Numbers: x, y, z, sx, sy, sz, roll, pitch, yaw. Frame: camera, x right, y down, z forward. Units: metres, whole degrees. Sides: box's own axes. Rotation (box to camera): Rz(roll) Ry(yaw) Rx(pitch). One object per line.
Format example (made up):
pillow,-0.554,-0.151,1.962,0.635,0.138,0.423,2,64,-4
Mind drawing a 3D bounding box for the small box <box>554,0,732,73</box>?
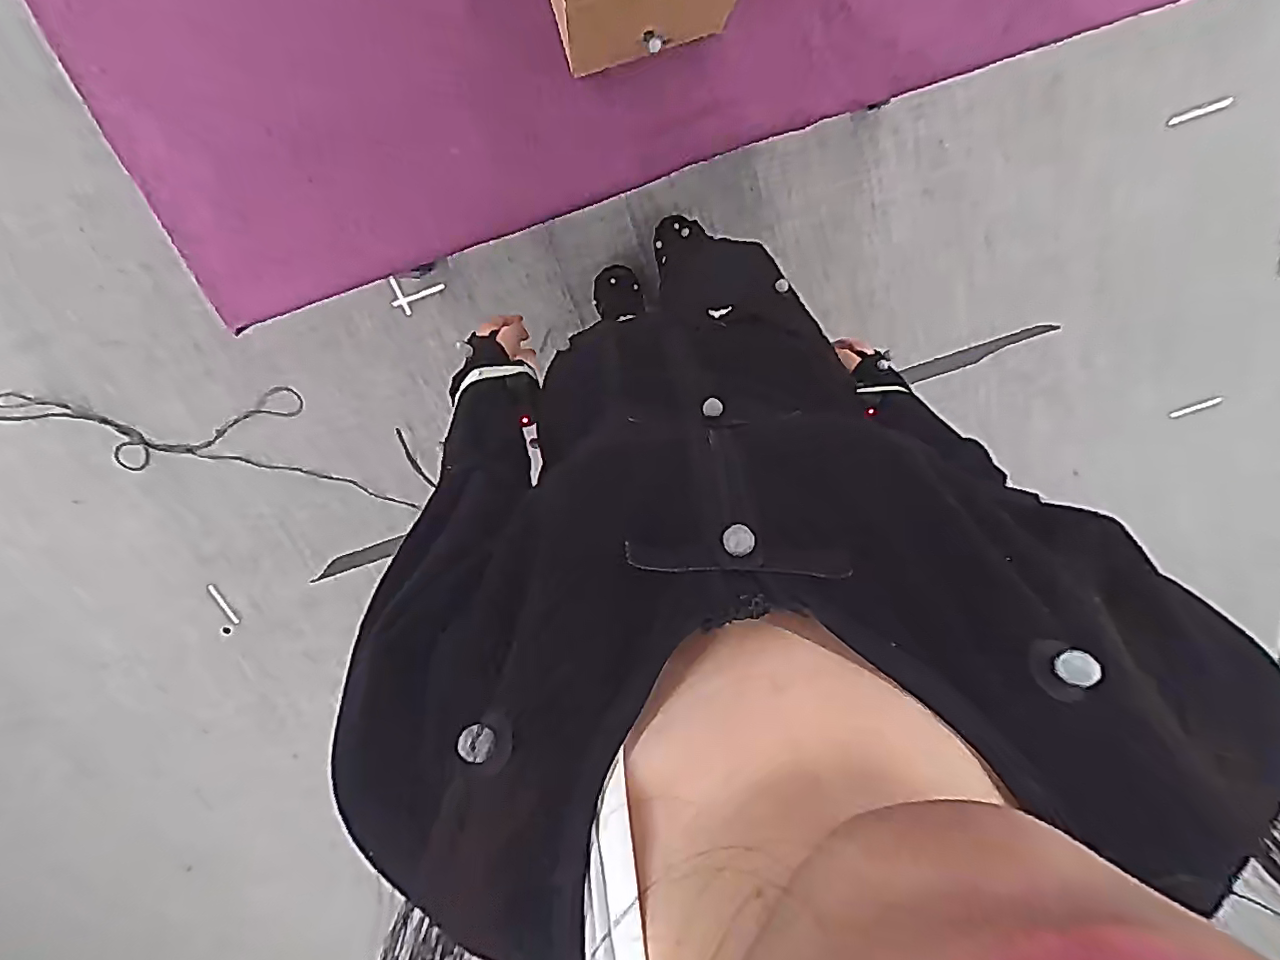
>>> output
small box,-0.010,-0.504,0.471,0.168,0.176,0.179,-17,111,2
